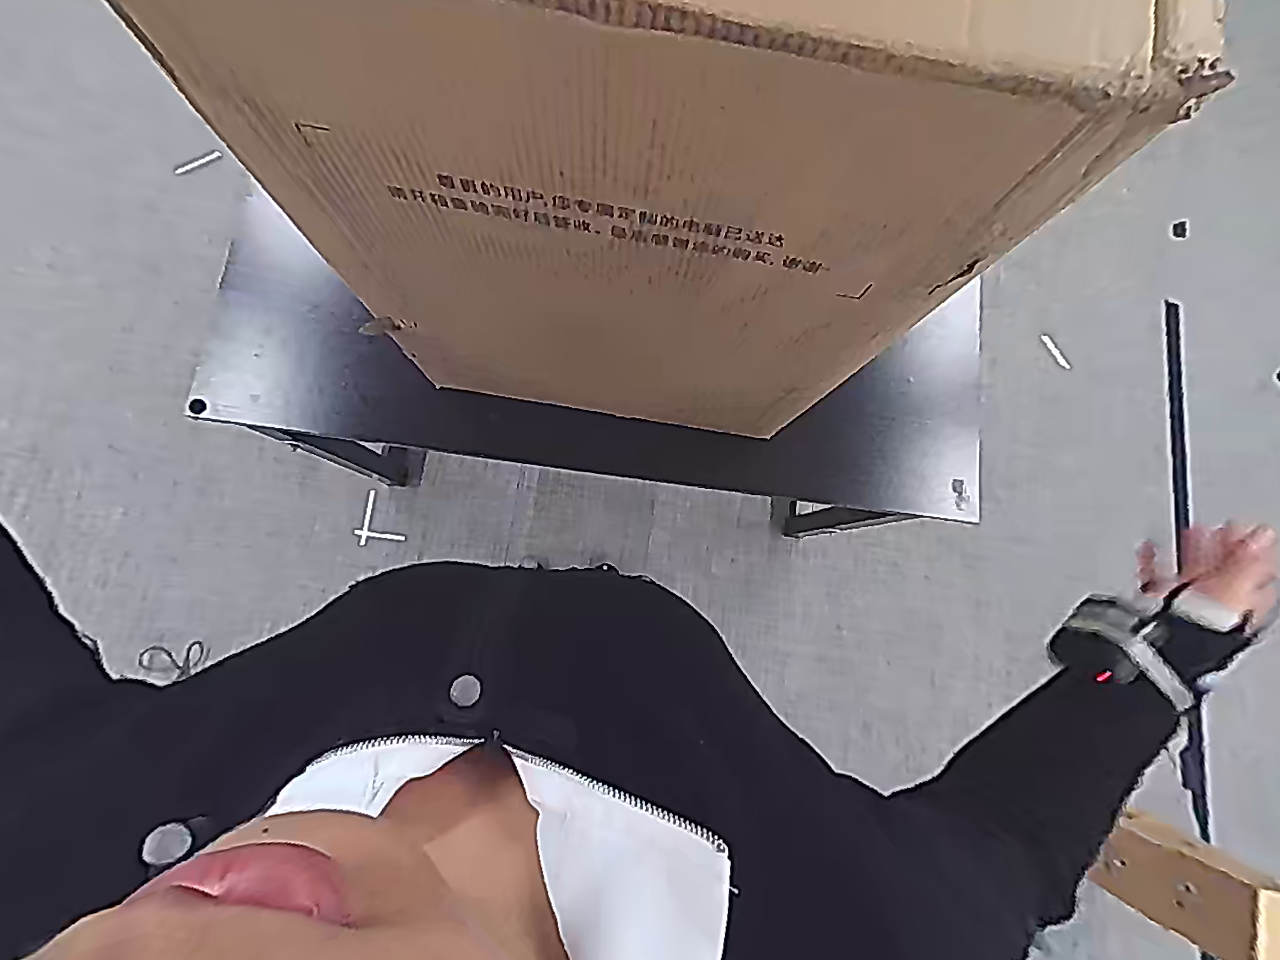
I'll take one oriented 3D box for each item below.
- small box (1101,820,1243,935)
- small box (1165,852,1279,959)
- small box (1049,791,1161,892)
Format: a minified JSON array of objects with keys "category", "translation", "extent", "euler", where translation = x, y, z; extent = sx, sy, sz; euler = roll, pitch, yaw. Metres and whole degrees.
[{"category":"small box","translation":[1.226,0.919,1.253],"extent":[0.179,0.176,0.168],"euler":[9,80,-3]},{"category":"small box","translation":[1.232,0.891,1.093],"extent":[0.179,0.176,0.168],"euler":[14,79,-1]},{"category":"small box","translation":[1.213,0.941,1.415],"extent":[0.168,0.176,0.179],"euler":[5,81,-4]}]
